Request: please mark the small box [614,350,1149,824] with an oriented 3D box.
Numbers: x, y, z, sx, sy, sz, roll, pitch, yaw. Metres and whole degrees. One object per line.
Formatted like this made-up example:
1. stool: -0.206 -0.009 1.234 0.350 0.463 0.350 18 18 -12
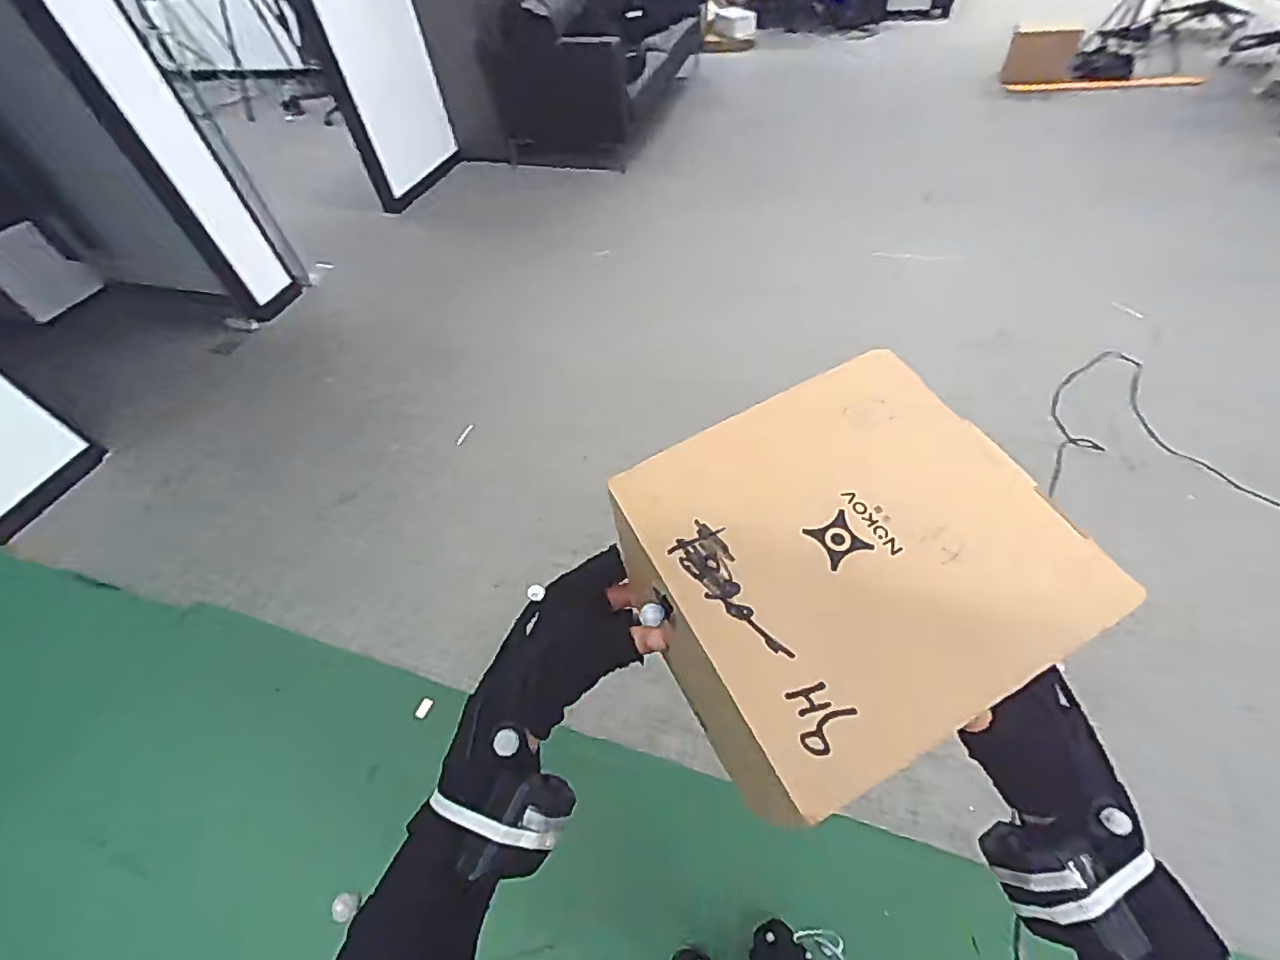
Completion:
1. small box: 0.100 0.064 0.309 0.179 0.176 0.168 -25 60 -12
